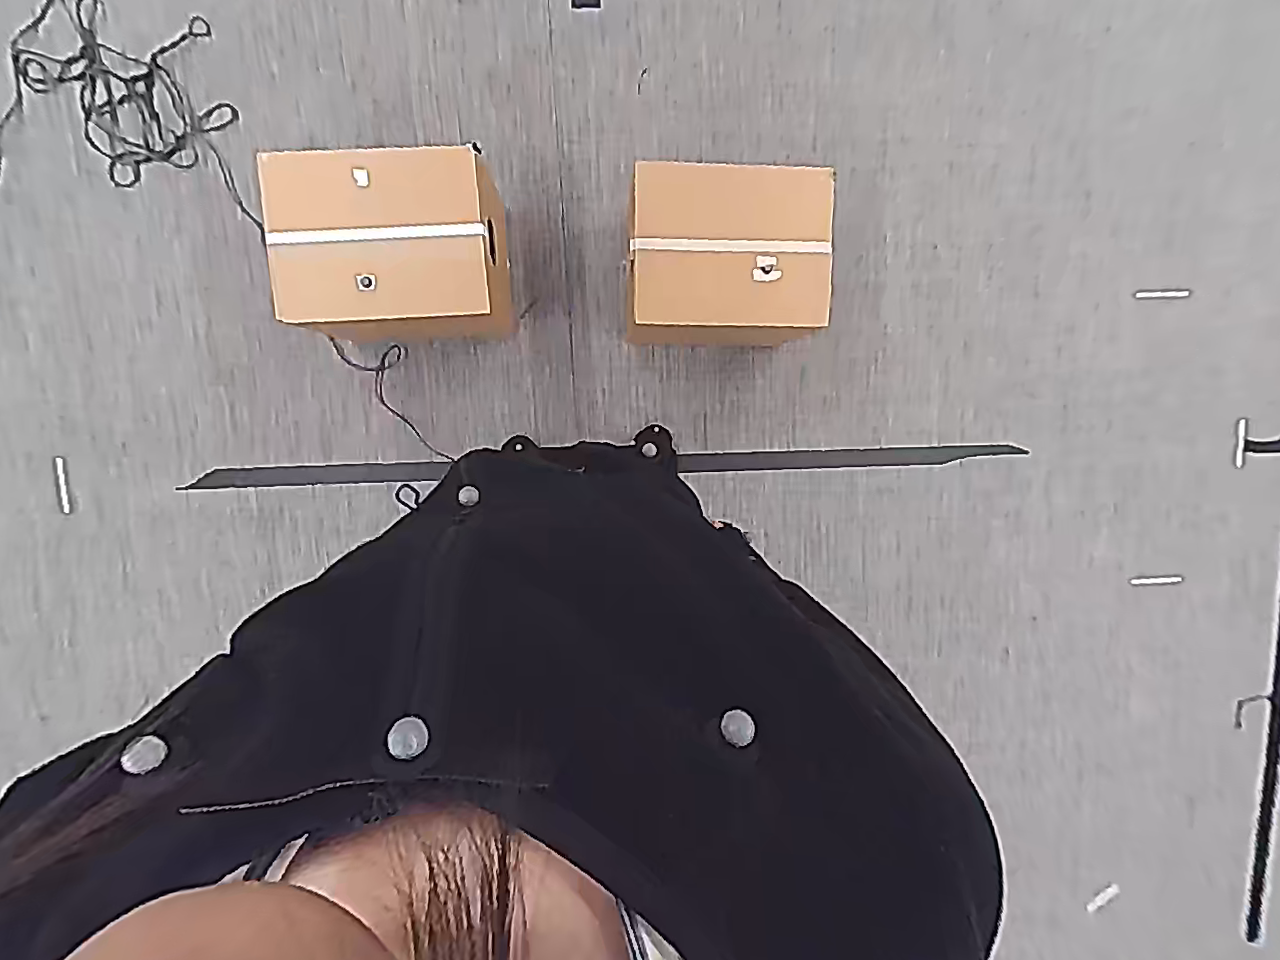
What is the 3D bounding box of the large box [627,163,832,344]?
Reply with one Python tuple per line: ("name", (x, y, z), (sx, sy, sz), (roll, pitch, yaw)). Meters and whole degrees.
("large box", (0.179, -0.490, 1.241), (0.408, 0.320, 0.320), (0, 97, -5))
